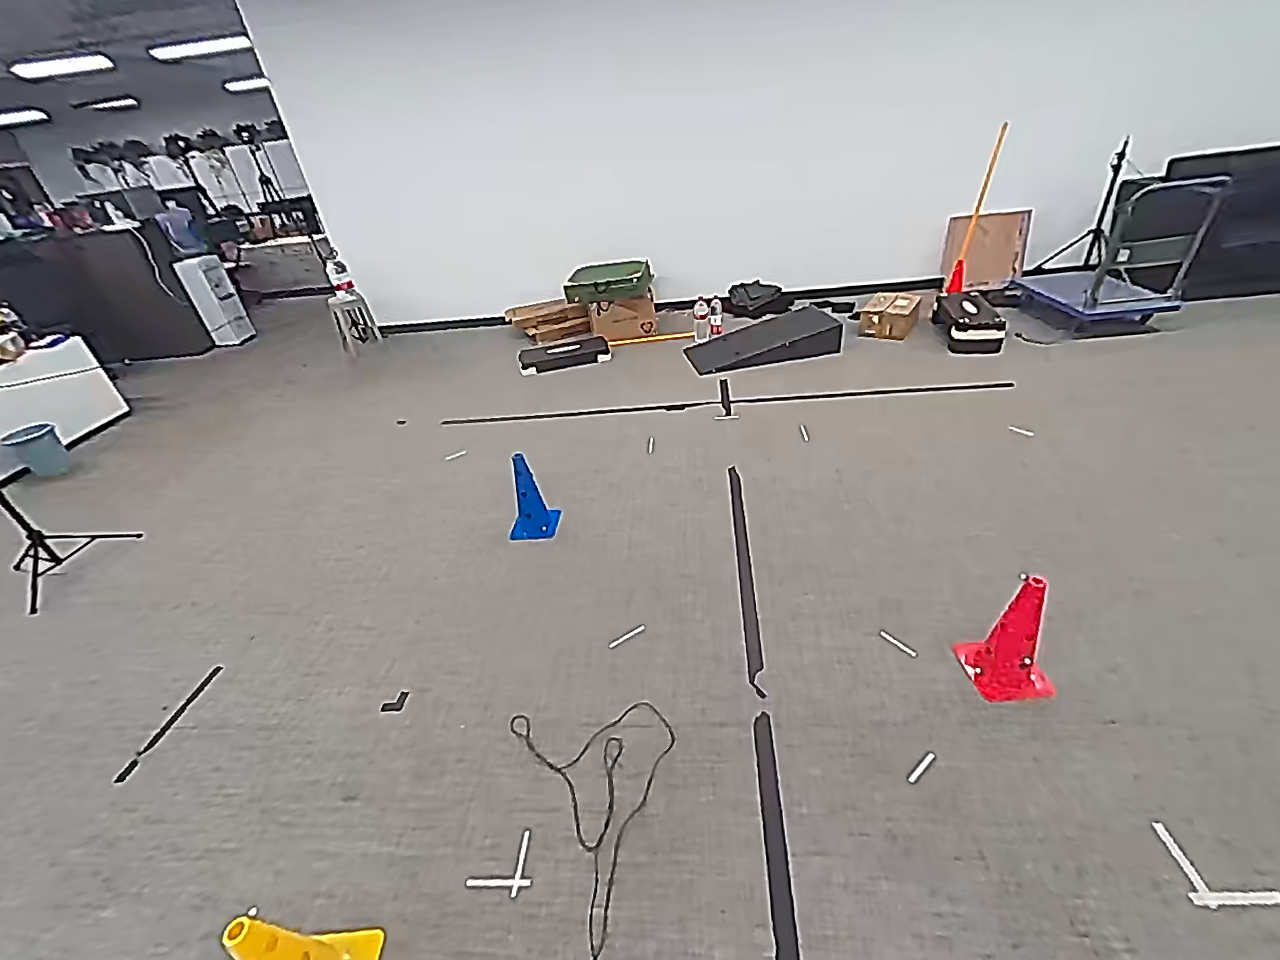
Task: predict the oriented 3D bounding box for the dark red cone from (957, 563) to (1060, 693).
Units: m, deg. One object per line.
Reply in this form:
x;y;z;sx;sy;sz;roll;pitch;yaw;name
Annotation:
1.027;0.379;1.459;0.201;0.394;0.202;-8;33;1;dark red cone

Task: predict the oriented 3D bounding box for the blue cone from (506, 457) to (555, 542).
-0.494;0.070;2.290;0.192;0.380;0.193;-4;33;8;blue cone
